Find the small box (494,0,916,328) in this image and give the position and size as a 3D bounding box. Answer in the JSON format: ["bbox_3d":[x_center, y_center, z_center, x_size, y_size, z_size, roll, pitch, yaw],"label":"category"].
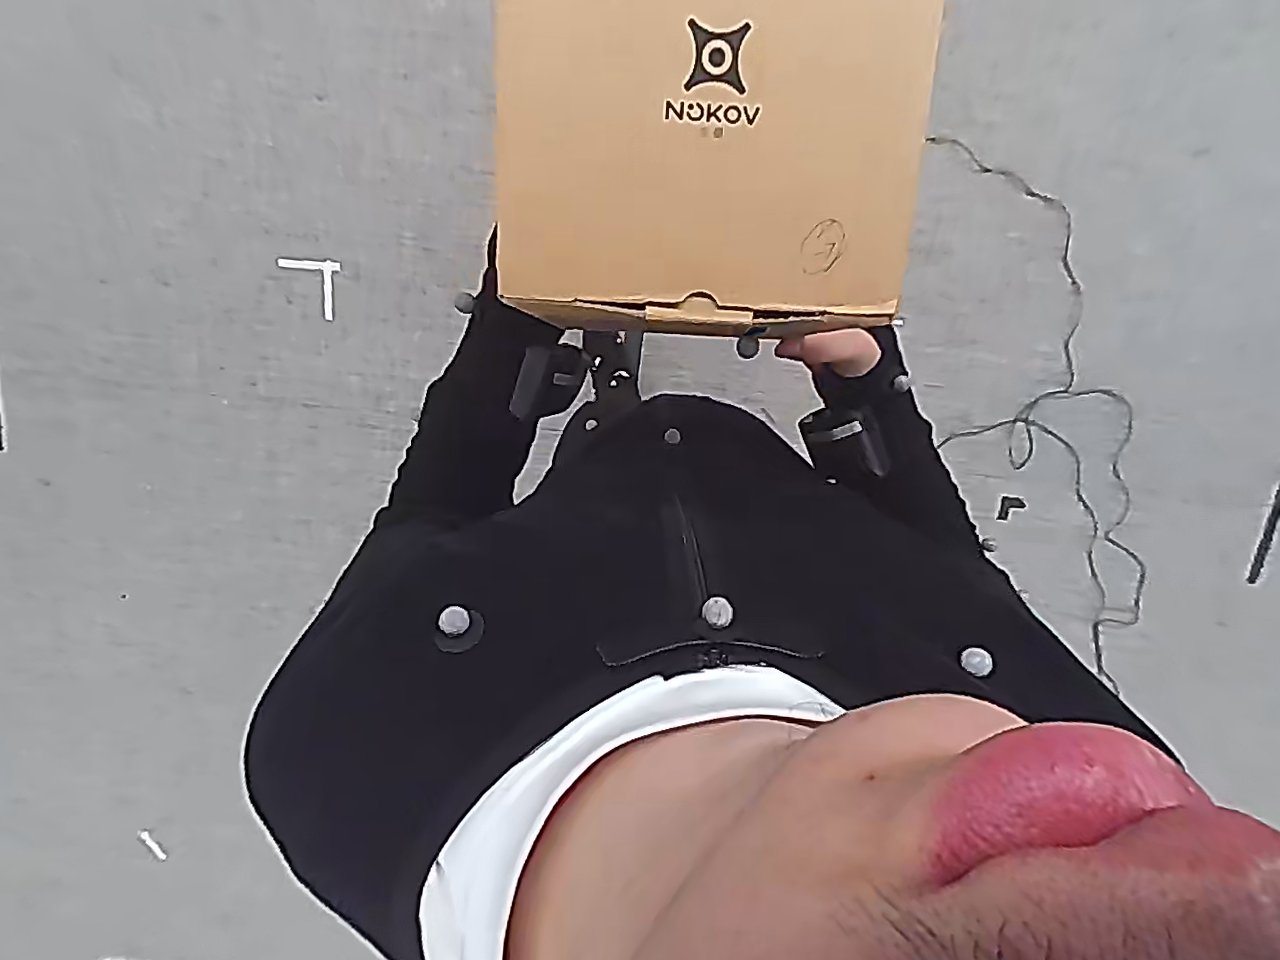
[{"bbox_3d":[0.023,-0.179,0.292,0.168,0.176,0.179,2,102,-2],"label":"small box"}]
